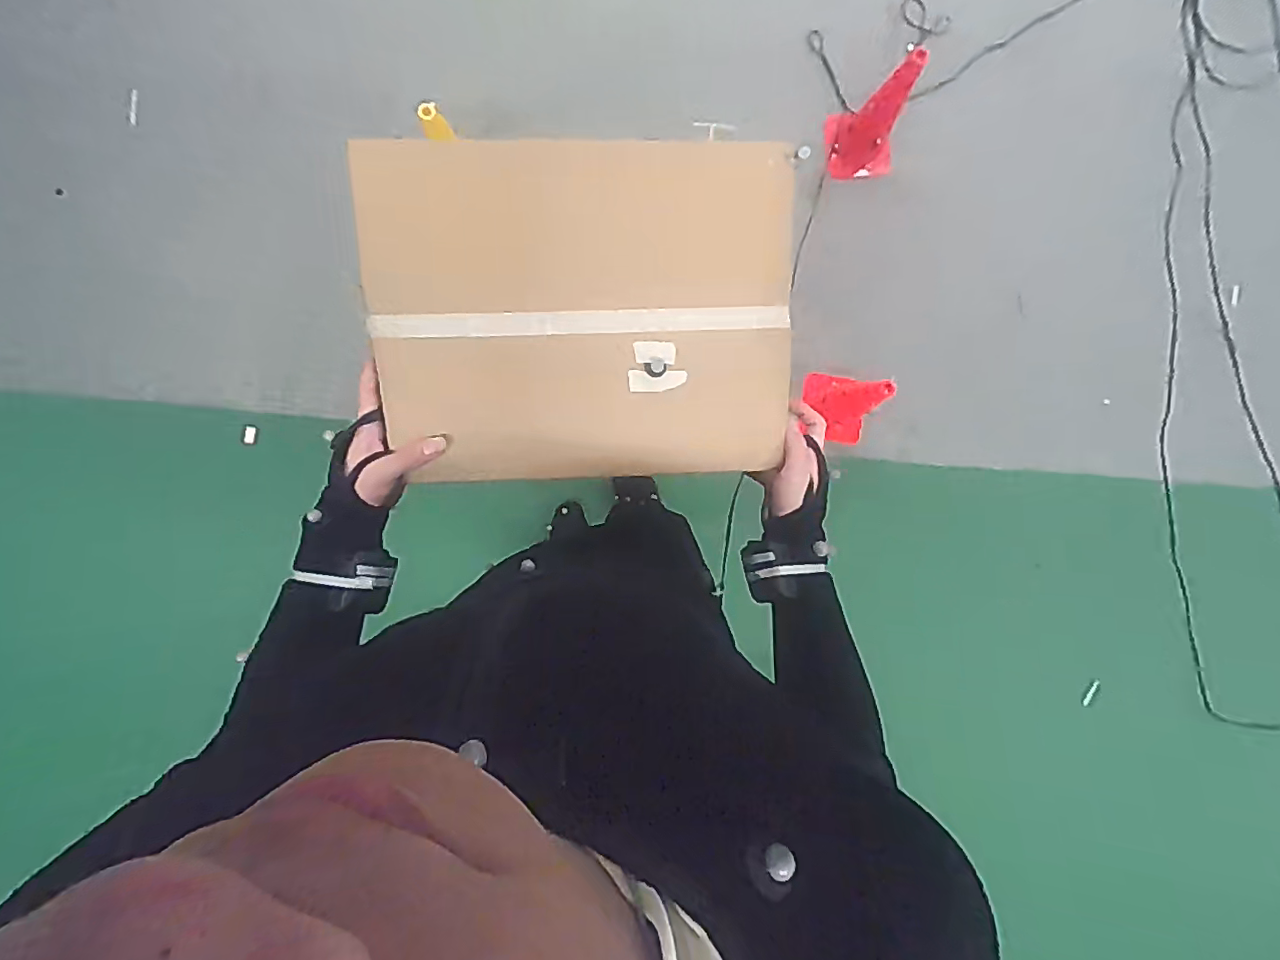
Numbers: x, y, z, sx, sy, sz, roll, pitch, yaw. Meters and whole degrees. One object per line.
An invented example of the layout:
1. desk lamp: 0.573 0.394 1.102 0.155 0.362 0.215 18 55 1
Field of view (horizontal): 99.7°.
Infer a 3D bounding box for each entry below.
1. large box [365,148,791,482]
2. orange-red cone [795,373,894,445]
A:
1. large box: -0.062 -0.190 0.680 0.408 0.320 0.320 -2 104 -5
2. orange-red cone: 0.599 -0.219 1.501 0.199 0.360 0.198 12 90 -3
